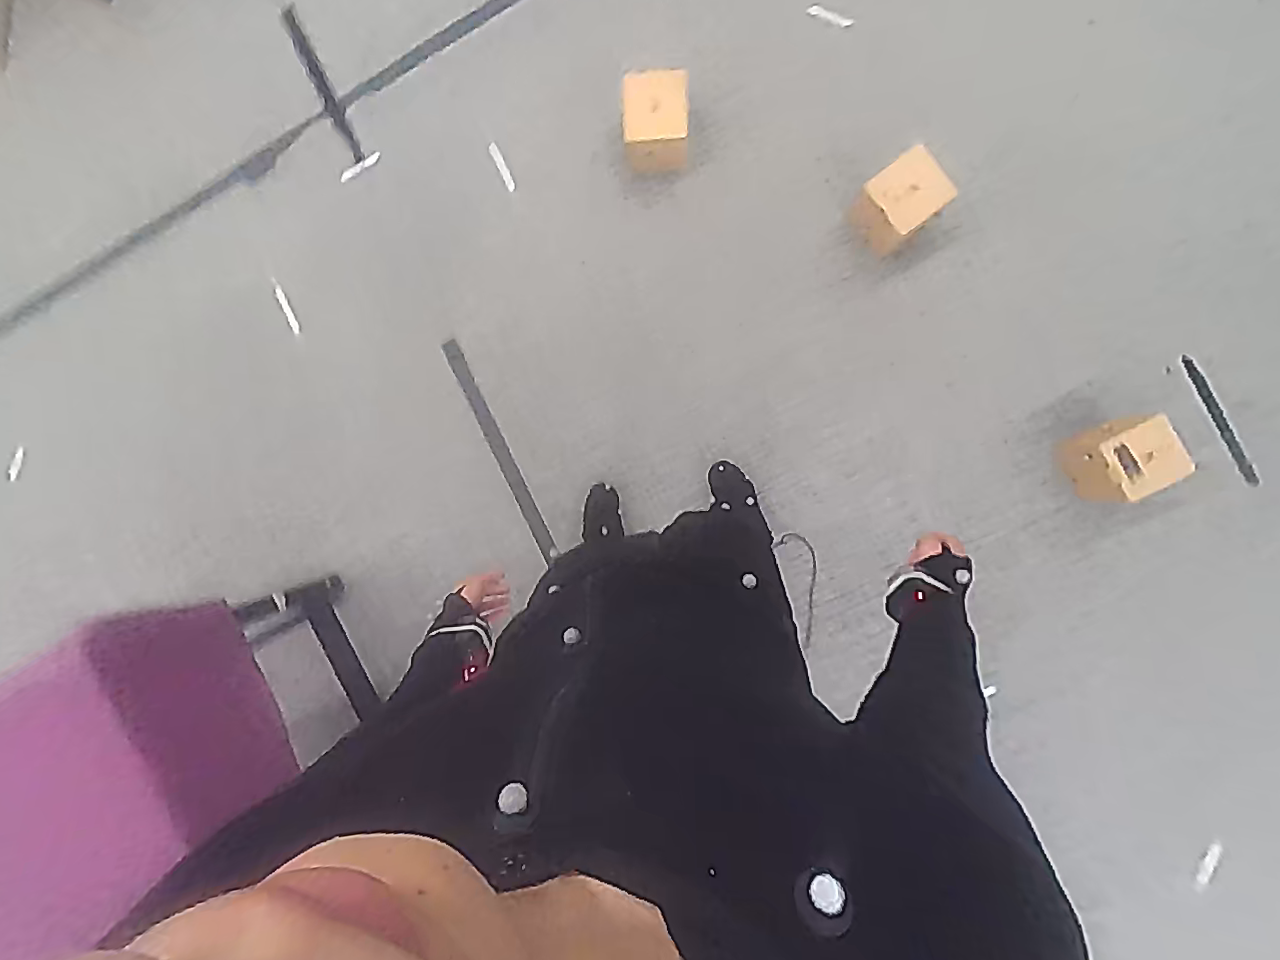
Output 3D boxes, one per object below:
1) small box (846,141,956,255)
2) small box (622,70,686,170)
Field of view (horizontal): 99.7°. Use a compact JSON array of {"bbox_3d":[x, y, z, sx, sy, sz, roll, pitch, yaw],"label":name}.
[{"bbox_3d":[0.684,-0.740,1.439,0.179,0.176,0.168,-37,89,6],"label":"small box"},{"bbox_3d":[0.042,-0.976,1.485,0.168,0.176,0.179,-1,92,5],"label":"small box"}]
